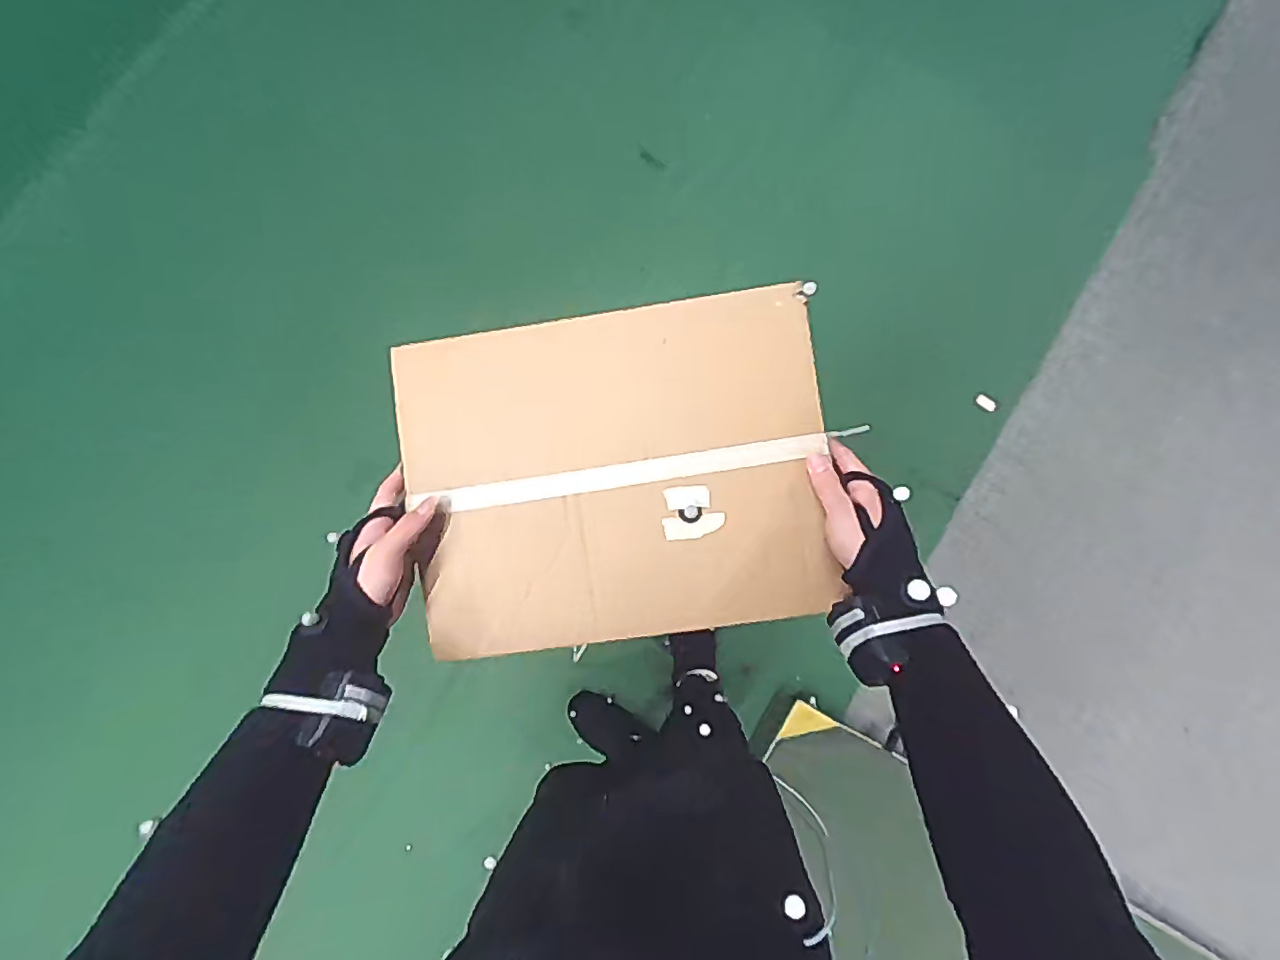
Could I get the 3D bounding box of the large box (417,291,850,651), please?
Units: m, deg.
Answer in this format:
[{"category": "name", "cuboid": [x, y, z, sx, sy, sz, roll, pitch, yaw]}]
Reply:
[{"category": "large box", "cuboid": [-0.006, -0.003, 0.686, 0.408, 0.320, 0.320, -8, 89, 3]}]
